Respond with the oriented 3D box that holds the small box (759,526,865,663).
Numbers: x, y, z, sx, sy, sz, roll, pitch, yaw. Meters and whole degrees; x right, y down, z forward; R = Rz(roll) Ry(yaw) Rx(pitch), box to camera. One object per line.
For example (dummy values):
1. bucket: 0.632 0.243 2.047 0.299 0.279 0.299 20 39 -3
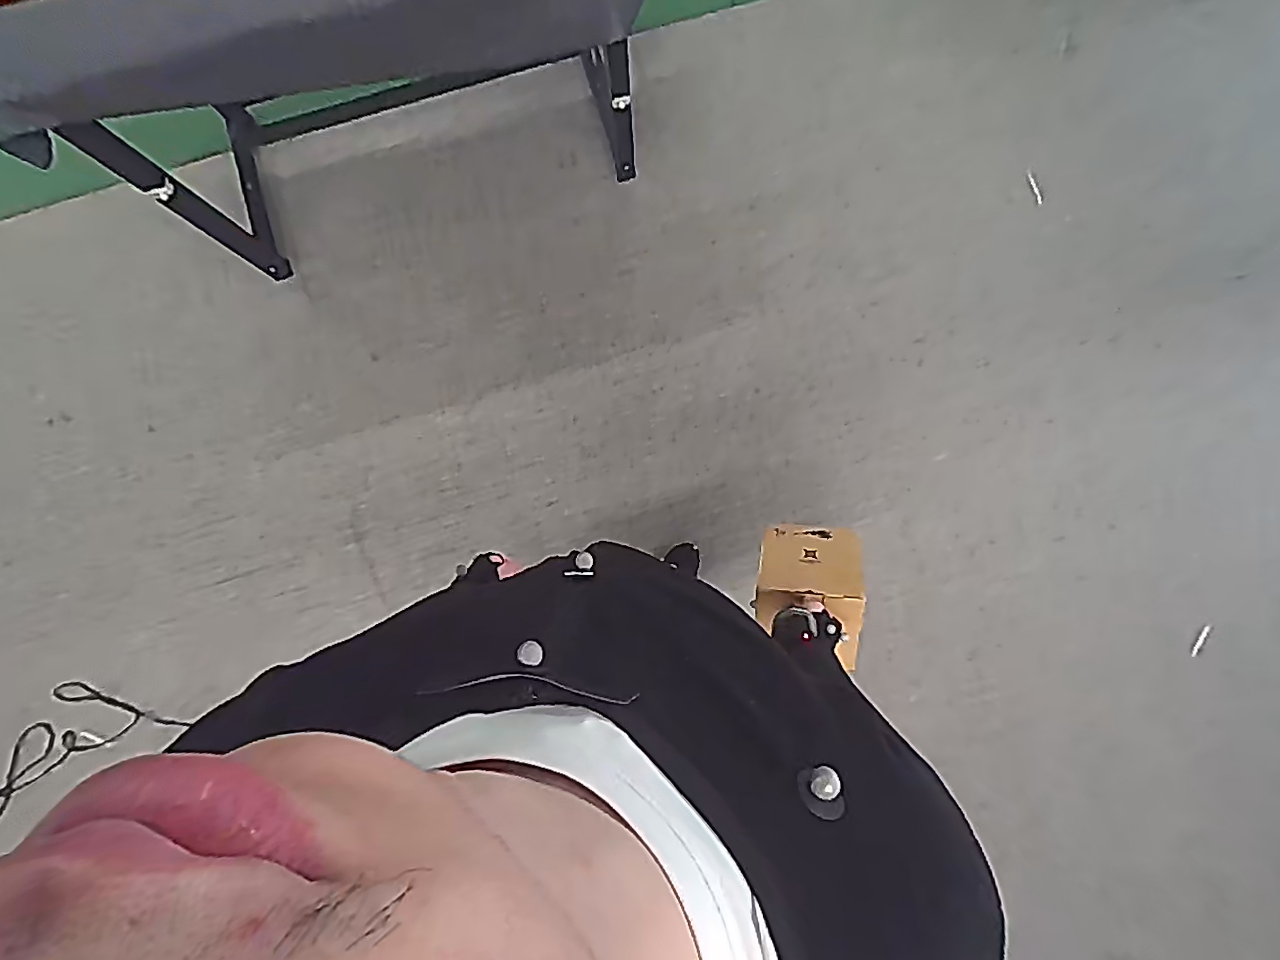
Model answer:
1. small box: 0.303 0.201 0.963 0.168 0.179 0.176 0 123 15
